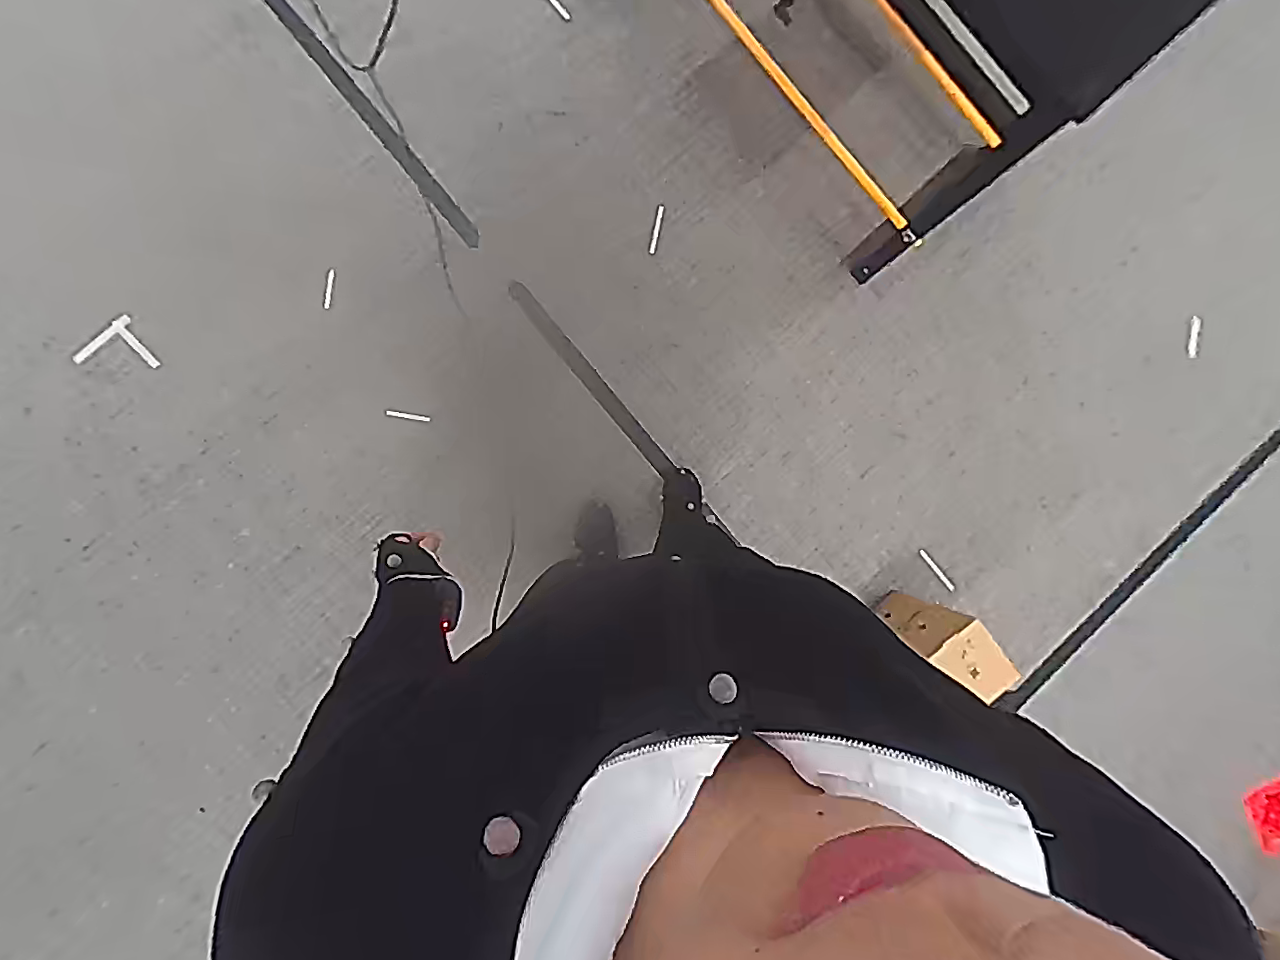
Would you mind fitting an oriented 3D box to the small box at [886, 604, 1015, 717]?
[{"bbox_3d":[0.747,0.430,1.317,0.168,0.176,0.179,-37,92,-5],"label":"small box"}]

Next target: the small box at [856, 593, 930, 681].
[{"bbox_3d":[0.733,0.429,1.483,0.168,0.176,0.179,-42,92,-4],"label":"small box"}]

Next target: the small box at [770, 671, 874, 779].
[{"bbox_3d":[0.483,0.651,1.461,0.179,0.176,0.168,-38,92,-3],"label":"small box"}]
